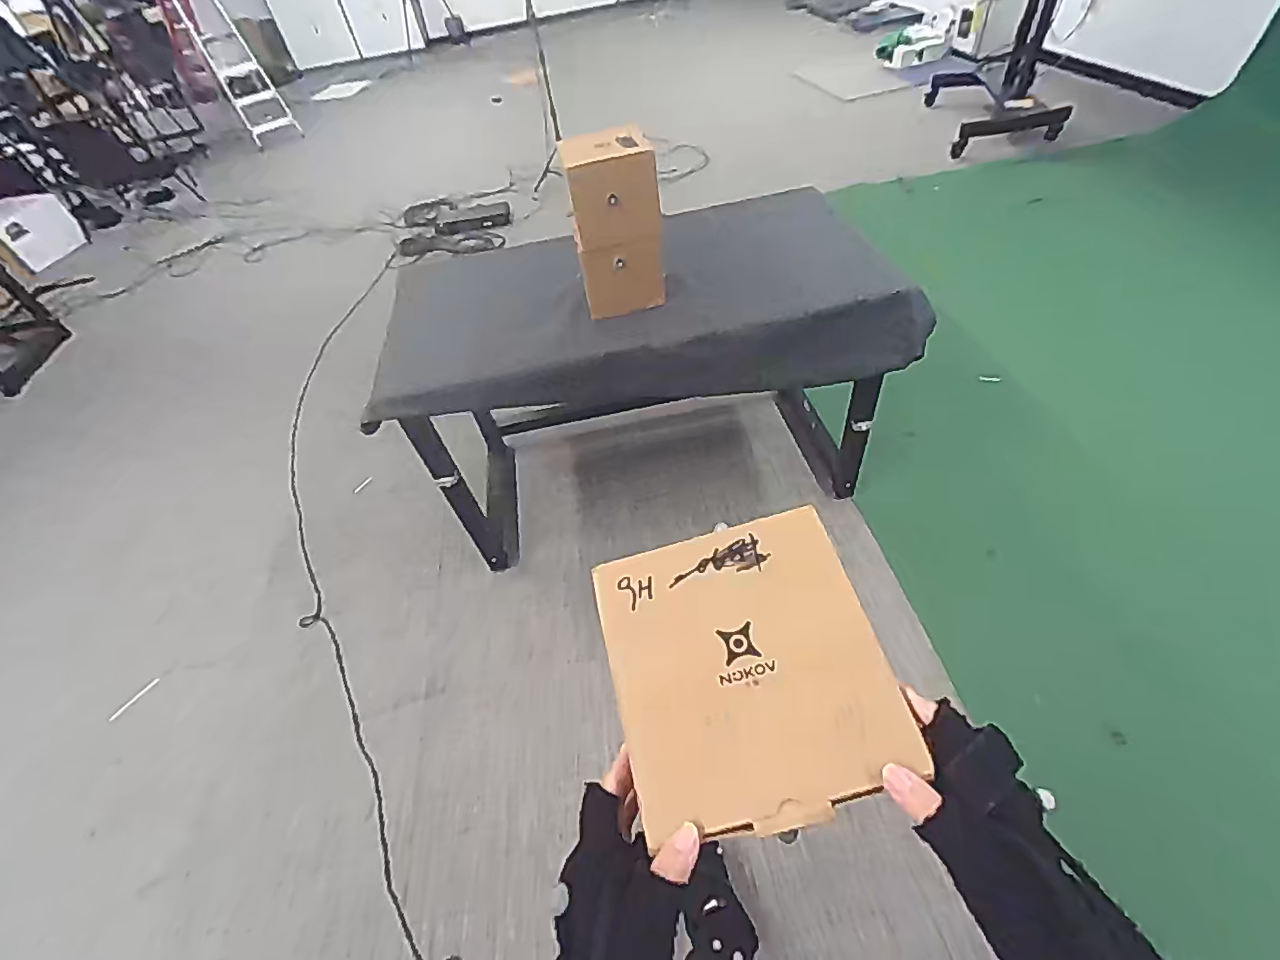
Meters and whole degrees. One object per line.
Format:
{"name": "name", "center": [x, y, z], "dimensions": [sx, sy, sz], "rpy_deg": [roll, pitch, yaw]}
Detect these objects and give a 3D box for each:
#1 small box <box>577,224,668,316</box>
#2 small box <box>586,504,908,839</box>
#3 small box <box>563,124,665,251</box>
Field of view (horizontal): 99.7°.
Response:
{"name": "small box", "center": [-0.039, -0.499, 1.247], "dimensions": [0.179, 0.176, 0.168], "rpy_deg": [-12, 49, -2]}
{"name": "small box", "center": [0.070, 0.147, 0.415], "dimensions": [0.168, 0.176, 0.179], "rpy_deg": [-16, 60, 2]}
{"name": "small box", "center": [-0.050, -0.603, 1.120], "dimensions": [0.179, 0.176, 0.168], "rpy_deg": [-15, 50, -4]}
